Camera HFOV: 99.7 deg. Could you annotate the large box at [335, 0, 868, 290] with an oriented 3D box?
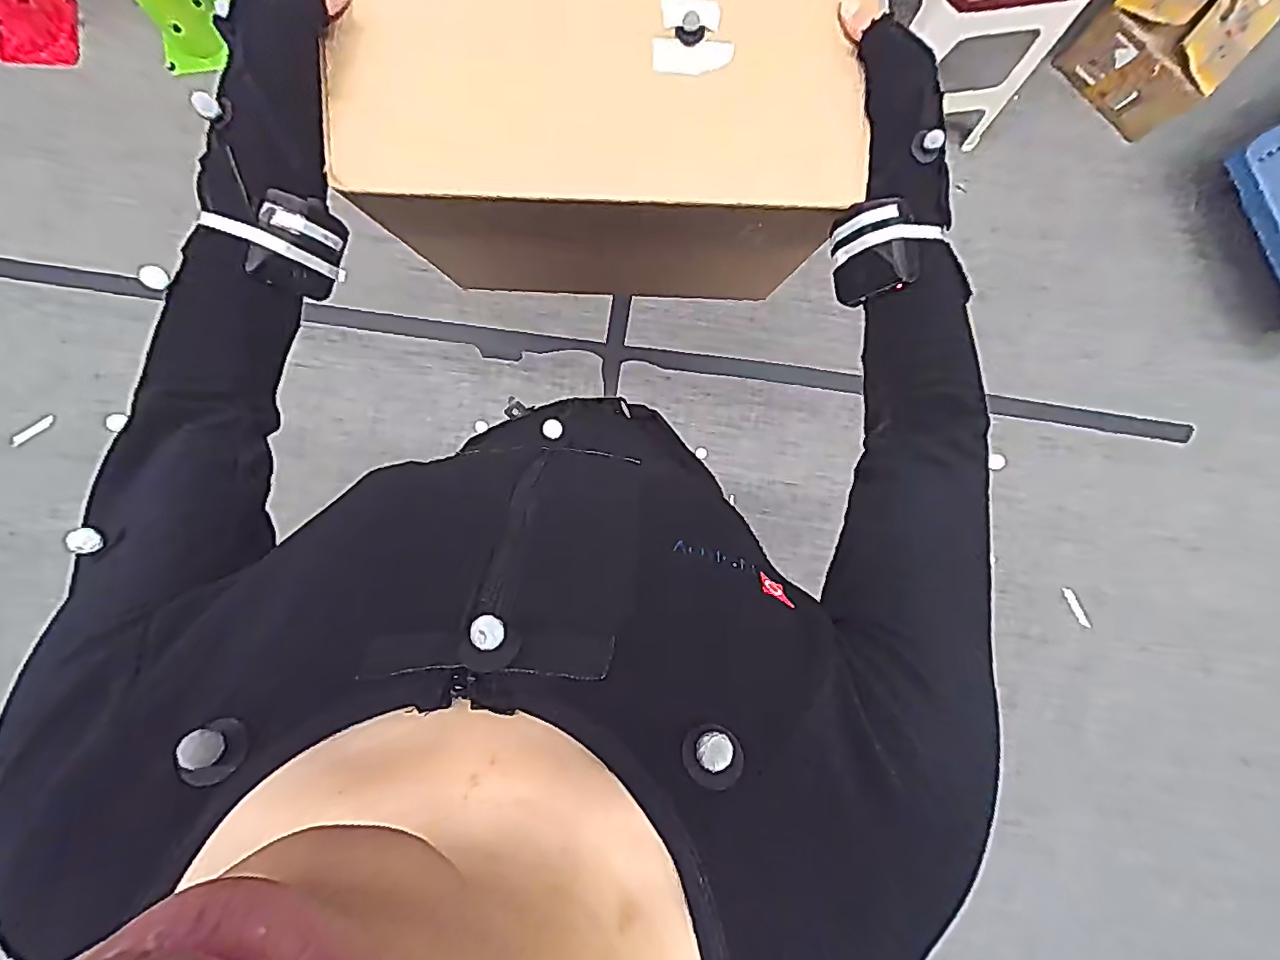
[{"bbox_3d":[-0.029,-0.390,0.548,0.408,0.320,0.320,2,96,-1],"label":"large box"}]
